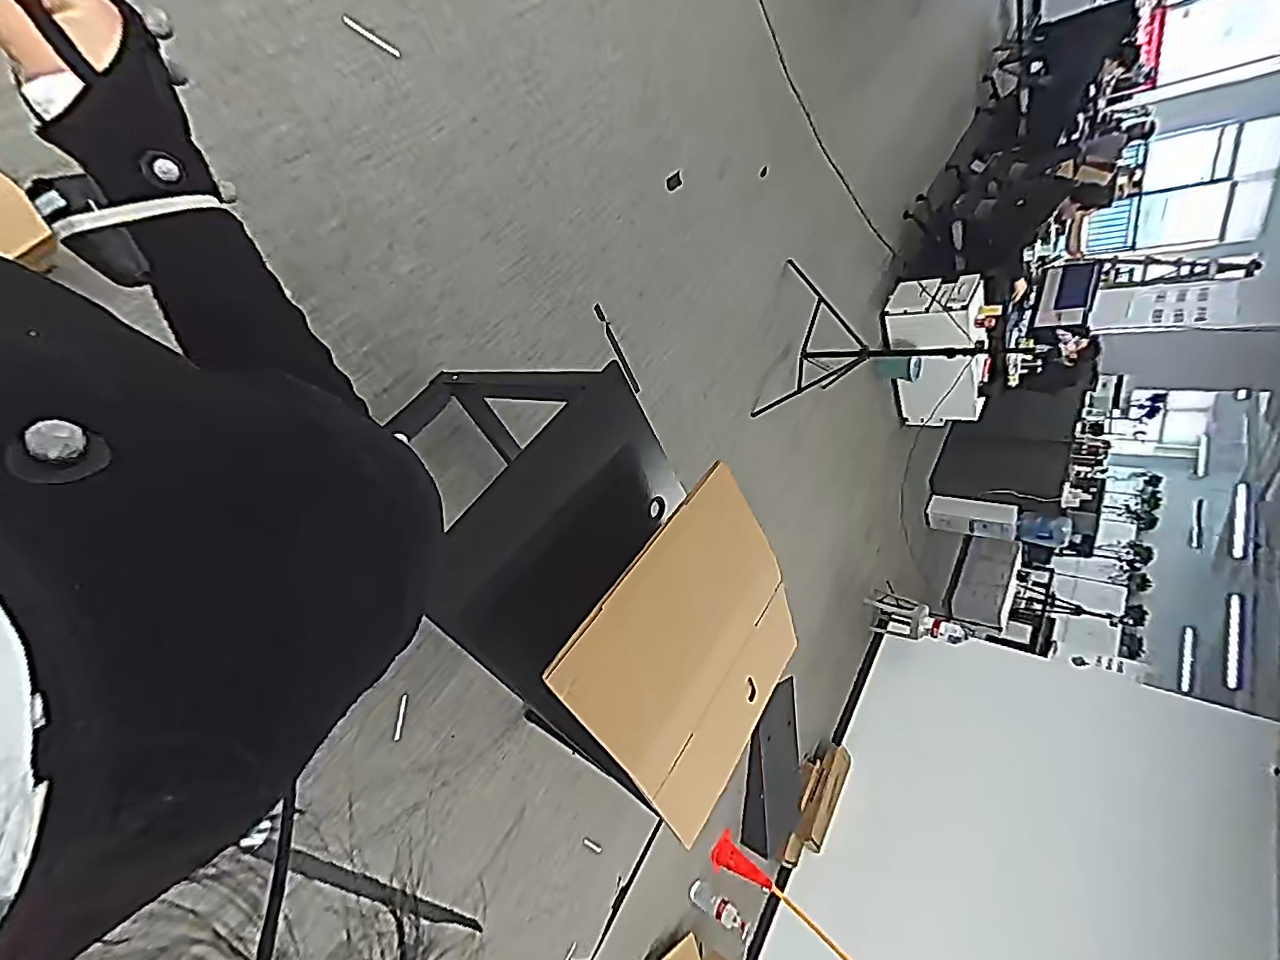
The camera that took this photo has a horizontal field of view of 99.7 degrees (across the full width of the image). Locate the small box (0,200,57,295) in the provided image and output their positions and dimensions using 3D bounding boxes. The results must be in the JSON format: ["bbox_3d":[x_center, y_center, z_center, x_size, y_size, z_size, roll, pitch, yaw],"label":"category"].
[{"bbox_3d":[-1.122,-0.390,0.878,0.179,0.176,0.168,-56,133,-25],"label":"small box"}]
